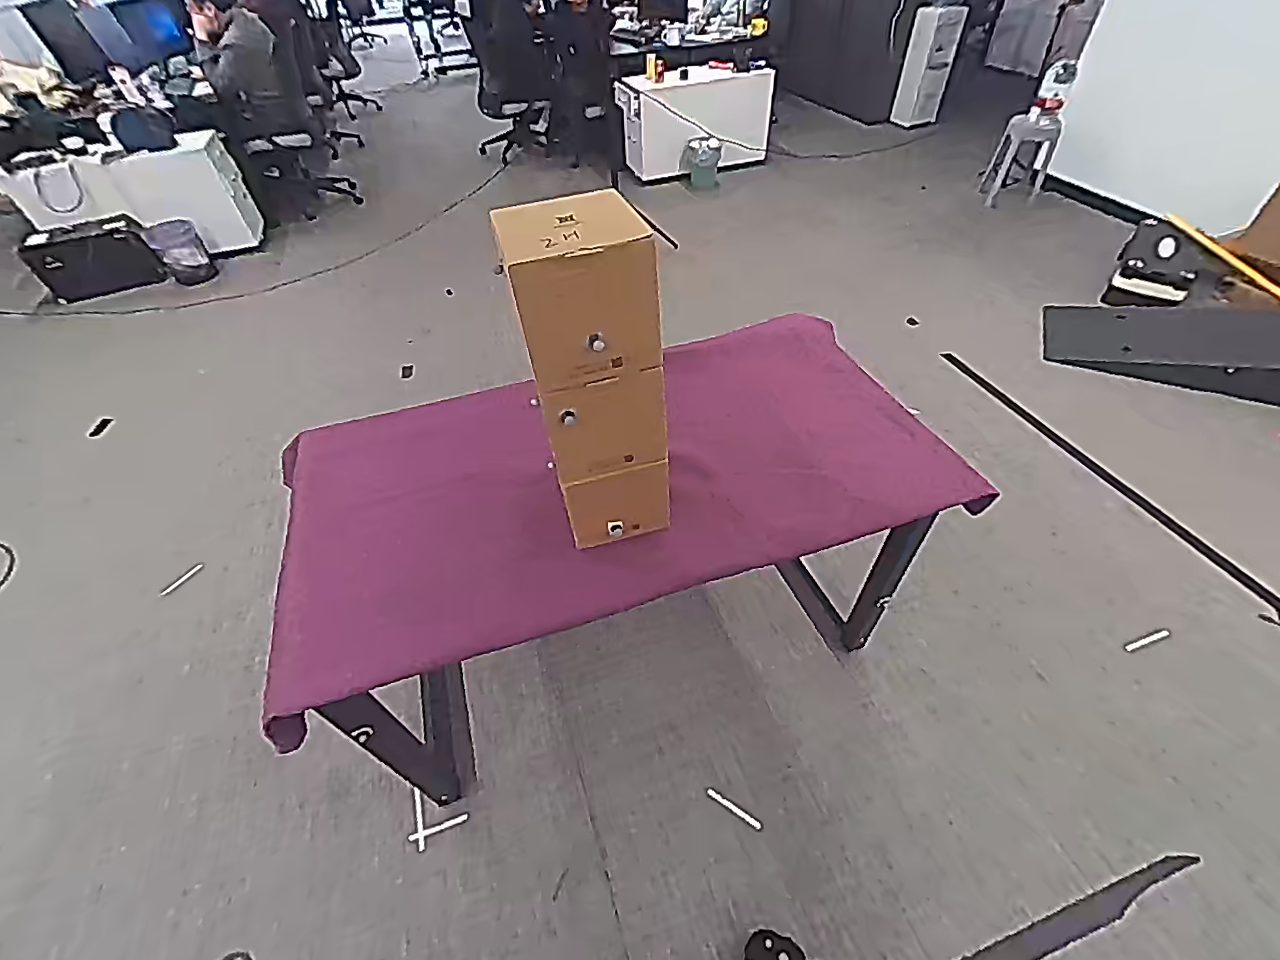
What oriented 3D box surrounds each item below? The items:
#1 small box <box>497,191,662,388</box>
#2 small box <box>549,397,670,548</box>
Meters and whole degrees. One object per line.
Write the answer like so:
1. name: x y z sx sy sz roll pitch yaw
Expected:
1. small box: -0.075 -0.245 0.694 0.168 0.176 0.179 -15 47 -9
2. small box: -0.052 -0.013 0.927 0.168 0.176 0.179 -15 48 -9
